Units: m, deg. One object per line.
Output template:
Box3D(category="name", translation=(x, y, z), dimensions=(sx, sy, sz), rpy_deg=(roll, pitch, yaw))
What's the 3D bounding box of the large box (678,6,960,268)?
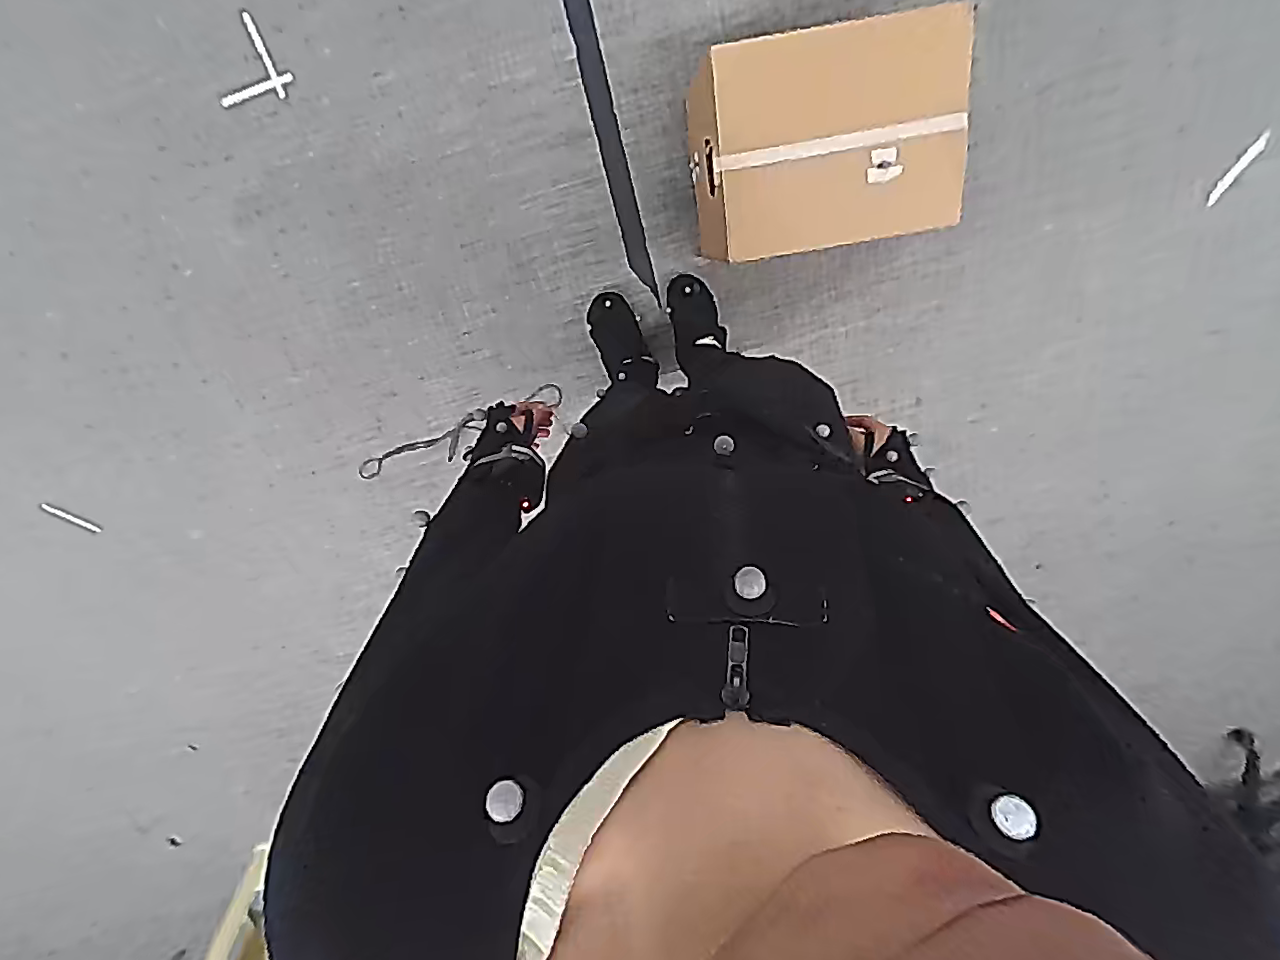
Box3D(category="large box", translation=(0.307, -0.602, 1.016), dimensions=(0.408, 0.320, 0.320), rpy_deg=(-10, 115, 0))
